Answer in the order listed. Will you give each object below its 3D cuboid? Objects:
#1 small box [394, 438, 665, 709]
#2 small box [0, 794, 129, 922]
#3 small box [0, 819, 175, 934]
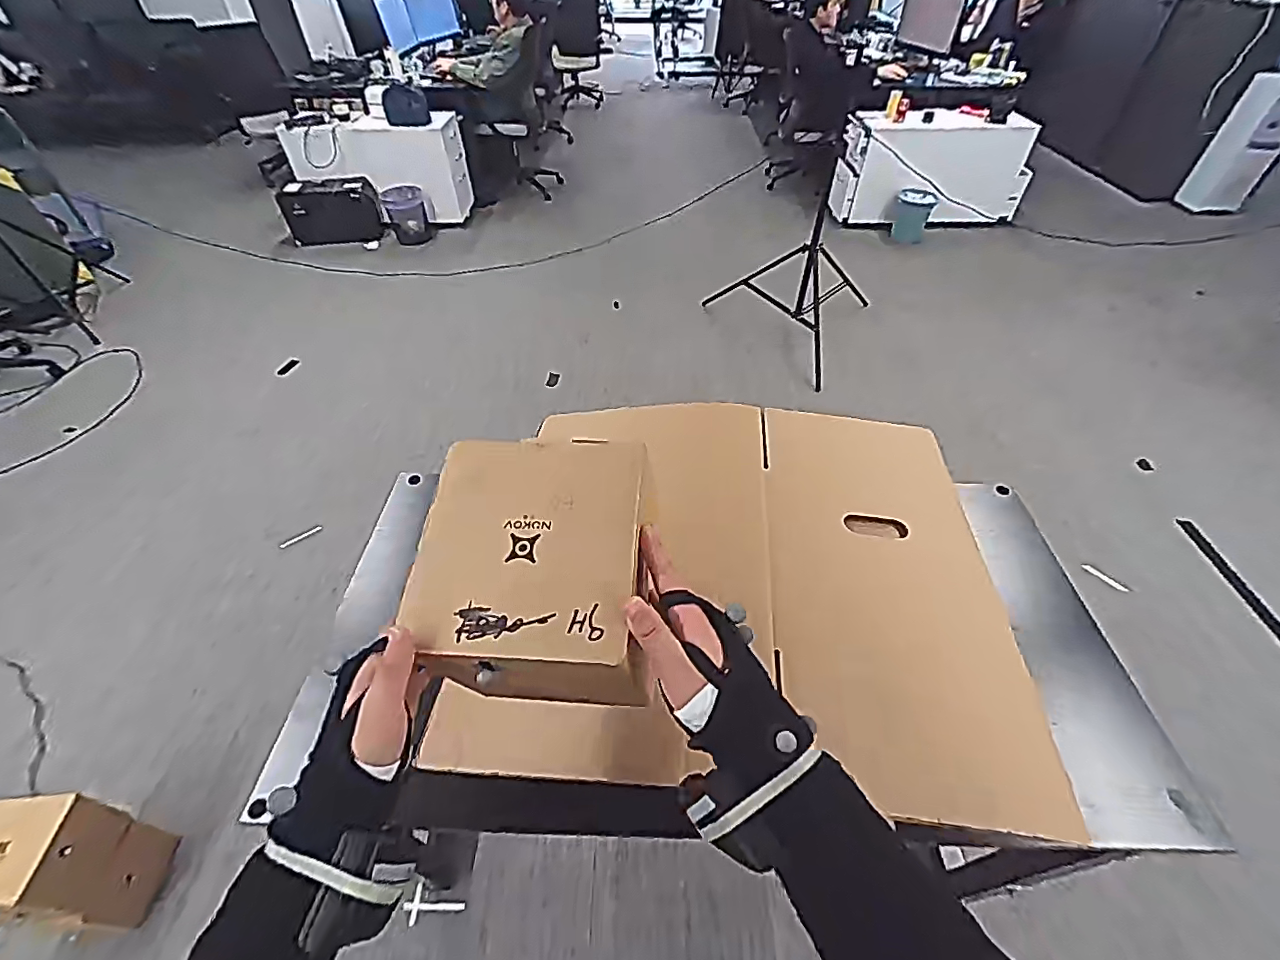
[{"bbox_3d":[-0.069,0.083,0.460,0.168,0.176,0.179,1,59,8],"label":"small box"},{"bbox_3d":[-1.161,0.733,1.045,0.168,0.176,0.179,-4,45,-4],"label":"small box"},{"bbox_3d":[-1.159,0.850,1.158,0.168,0.176,0.179,-2,47,-2],"label":"small box"}]
